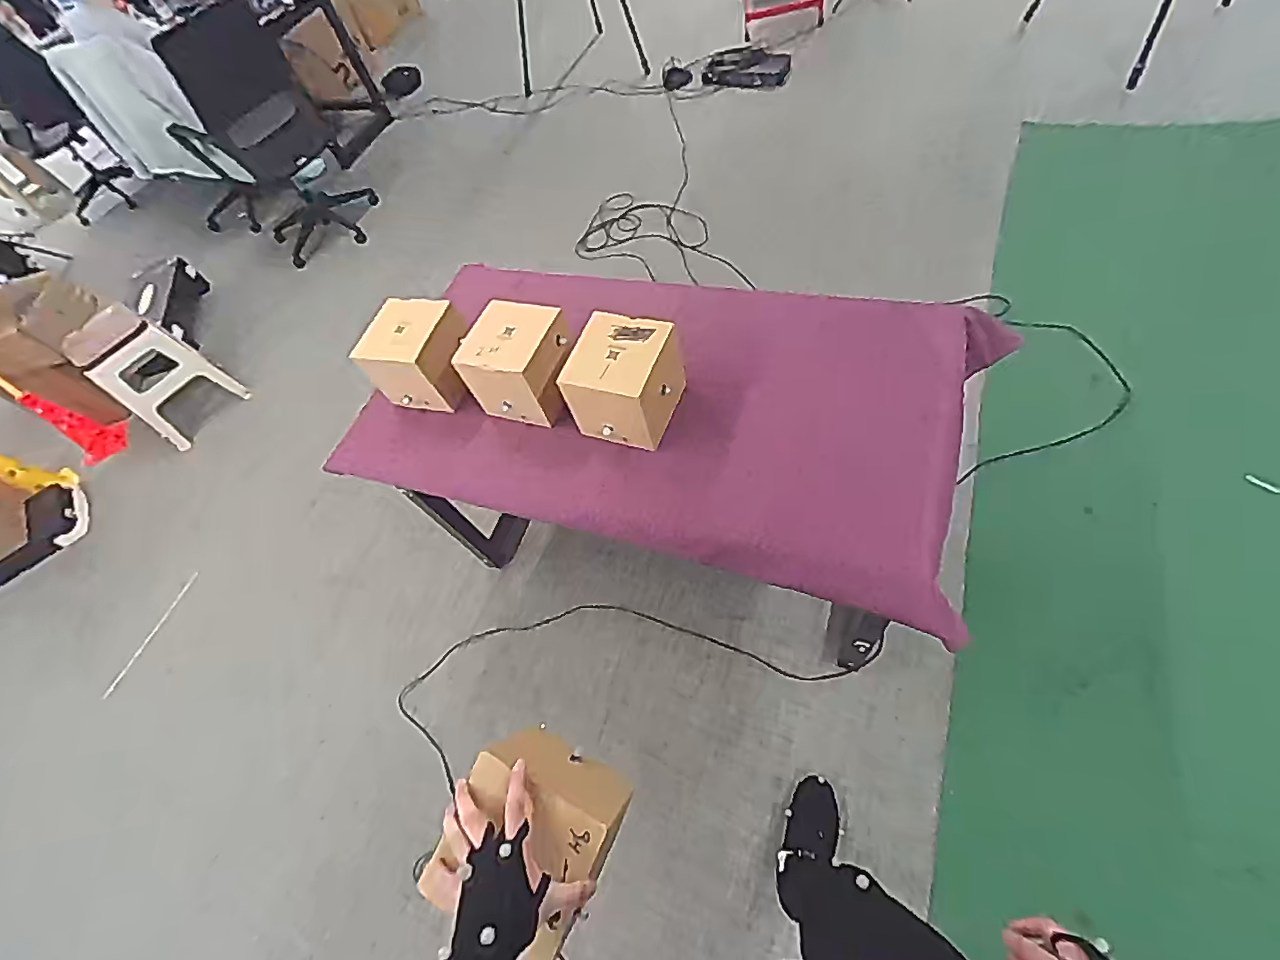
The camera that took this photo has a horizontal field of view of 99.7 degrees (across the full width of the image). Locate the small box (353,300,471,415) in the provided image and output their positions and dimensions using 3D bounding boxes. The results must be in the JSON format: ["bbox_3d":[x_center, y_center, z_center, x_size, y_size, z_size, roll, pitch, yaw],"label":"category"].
[{"bbox_3d":[-0.475,-0.268,1.187,0.168,0.176,0.179,8,62,18],"label":"small box"}]

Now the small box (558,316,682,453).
[{"bbox_3d":[-0.026,-0.180,1.029,0.168,0.176,0.179,15,65,21],"label":"small box"}]

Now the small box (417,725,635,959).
[{"bbox_3d":[-0.129,0.430,0.677,0.179,0.176,0.168,24,82,16],"label":"small box"}]

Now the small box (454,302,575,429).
[{"bbox_3d":[-0.240,-0.234,1.110,0.168,0.176,0.179,13,64,20],"label":"small box"}]
